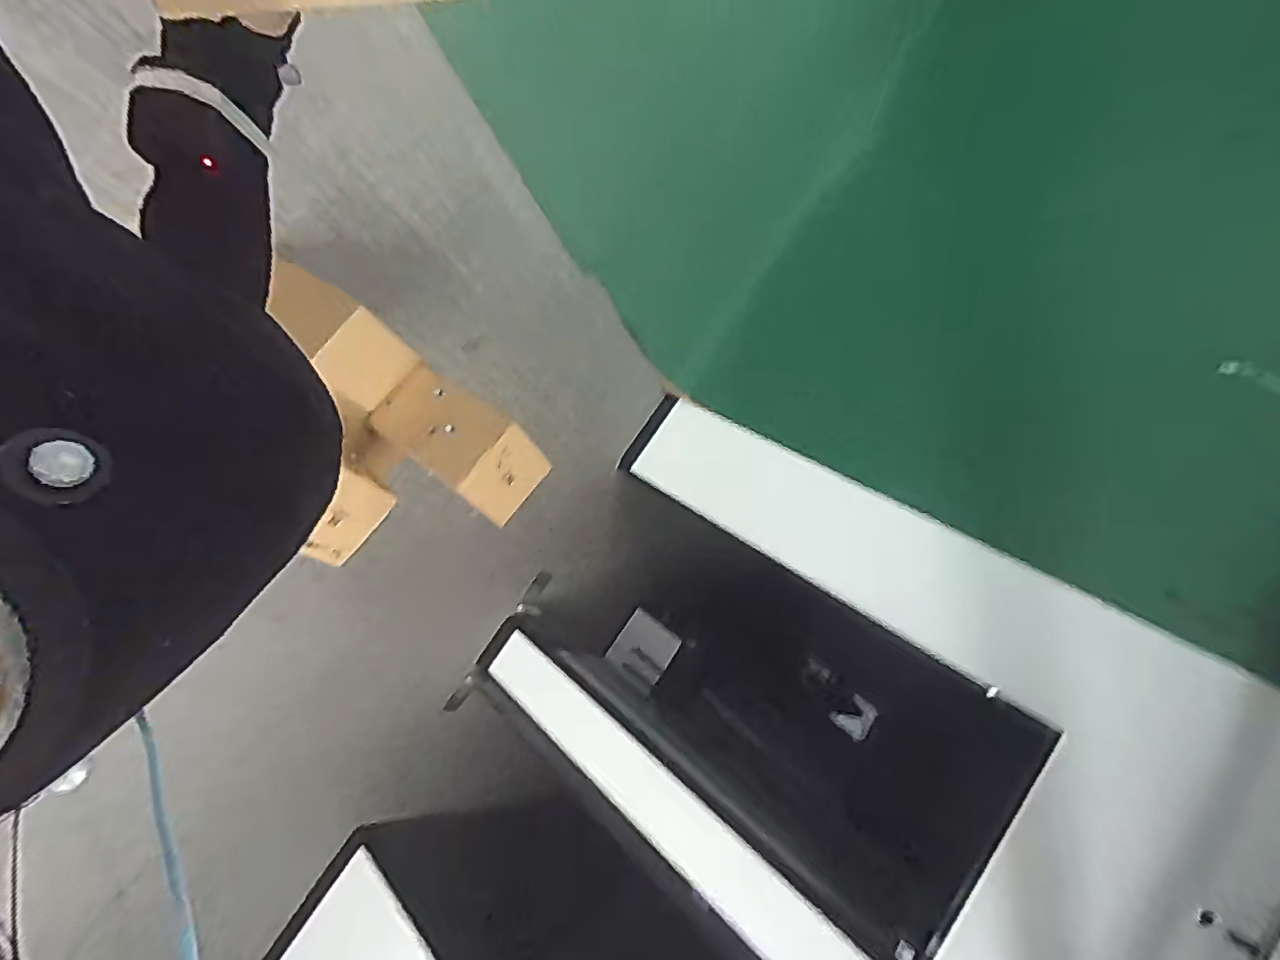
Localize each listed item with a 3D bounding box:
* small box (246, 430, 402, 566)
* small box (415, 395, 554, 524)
[{"bbox_3d":[-0.615,0.031,1.050,0.179,0.176,0.168,-53,147,-10],"label":"small box"},{"bbox_3d":[-0.313,-0.045,1.101,0.168,0.176,0.179,-52,149,-13],"label":"small box"}]
